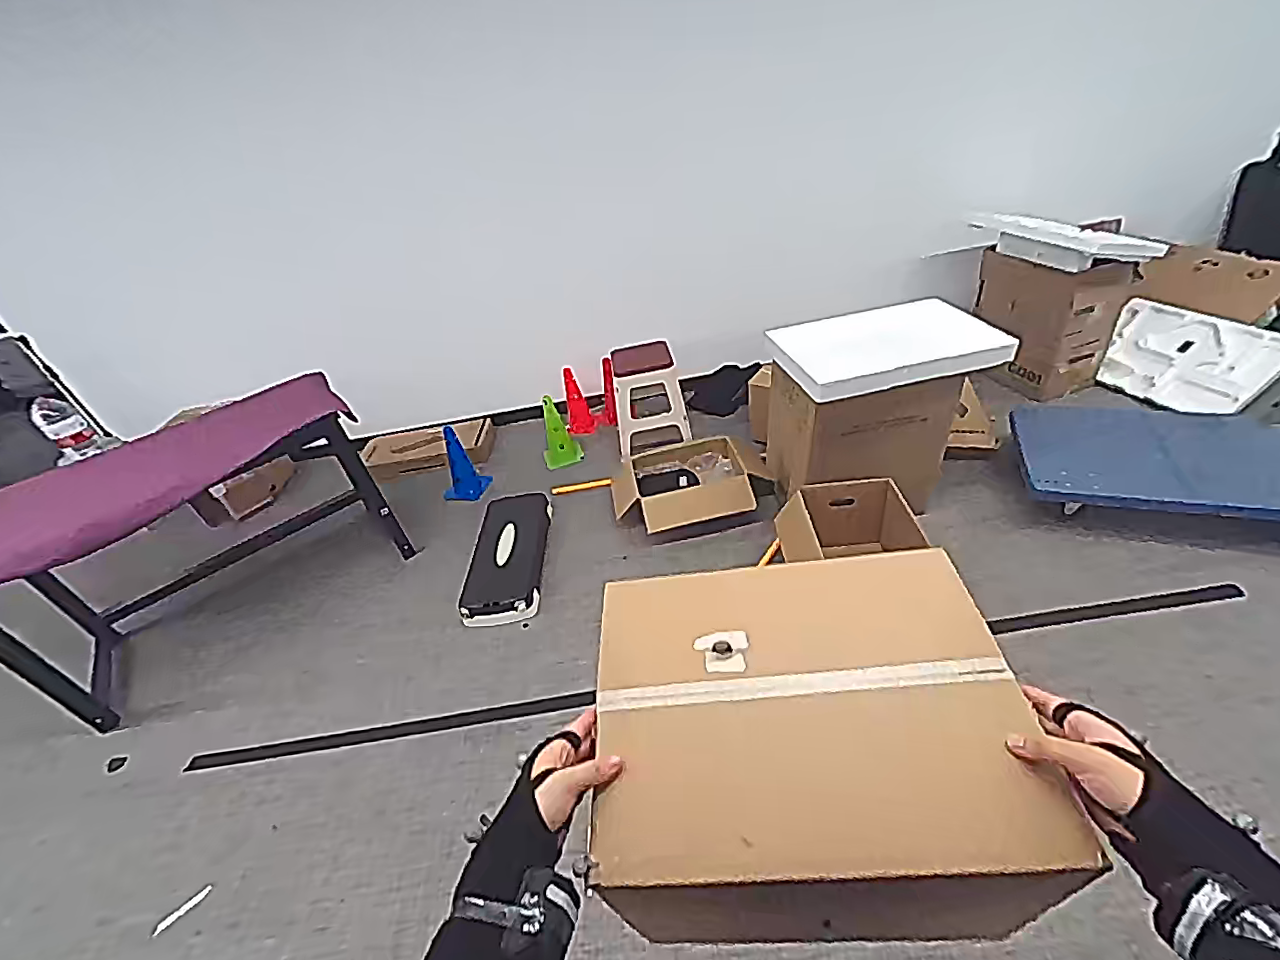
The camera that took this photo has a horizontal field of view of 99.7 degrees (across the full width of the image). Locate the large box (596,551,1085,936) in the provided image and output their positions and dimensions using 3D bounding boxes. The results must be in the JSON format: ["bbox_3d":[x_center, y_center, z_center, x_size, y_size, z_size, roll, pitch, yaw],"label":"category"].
[{"bbox_3d":[0.184,0.323,0.652,0.408,0.320,0.320,-8,41,7],"label":"large box"}]
